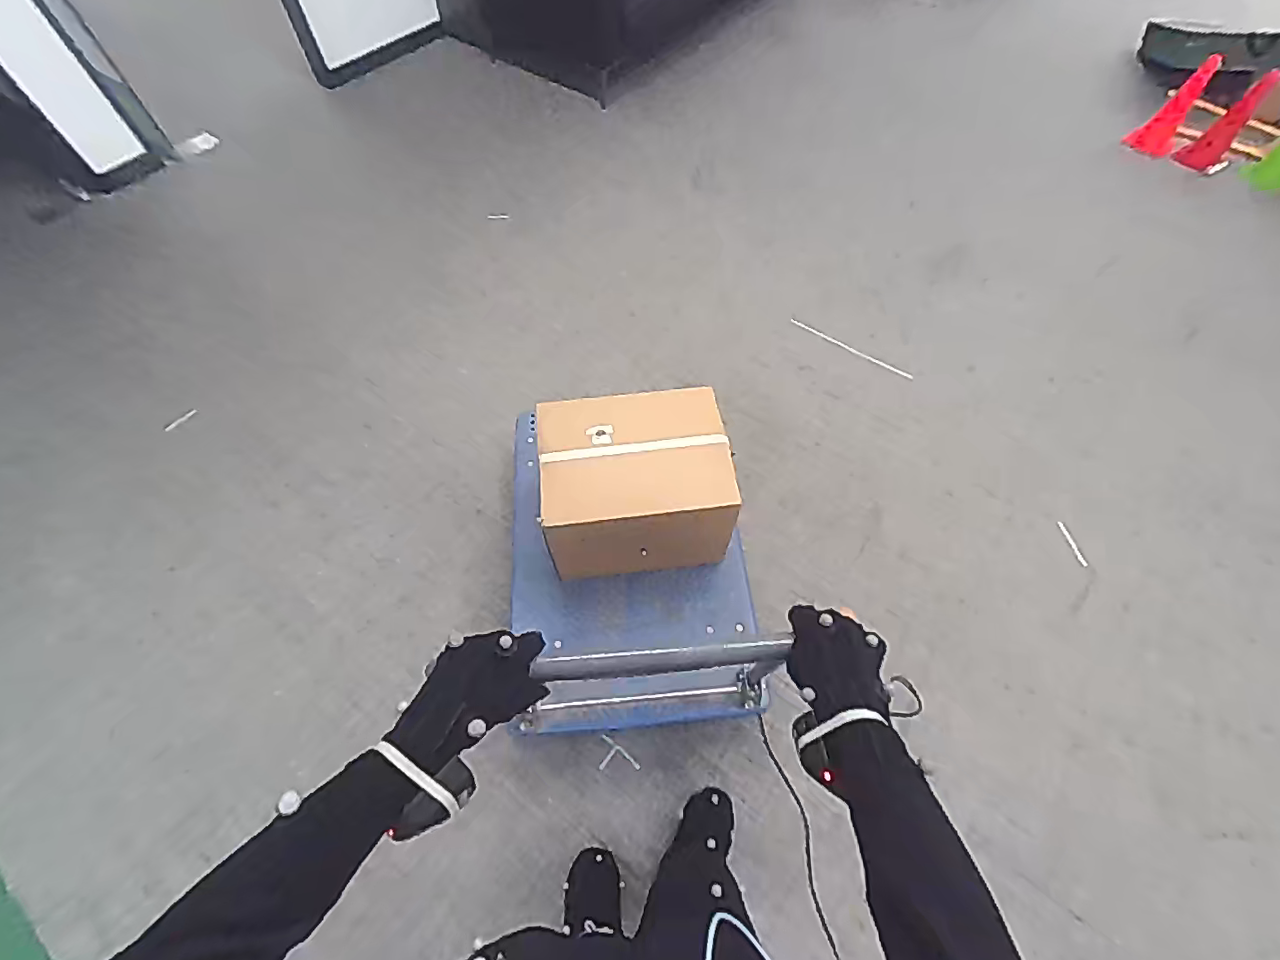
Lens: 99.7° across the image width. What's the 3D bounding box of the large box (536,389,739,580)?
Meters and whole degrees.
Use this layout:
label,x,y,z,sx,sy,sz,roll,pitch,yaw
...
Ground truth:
label,x,y,z,sx,sy,sz,roll,pitch,yaw
large box,-0.013,0.020,1.282,0.408,0.320,0.320,-7,59,-4
